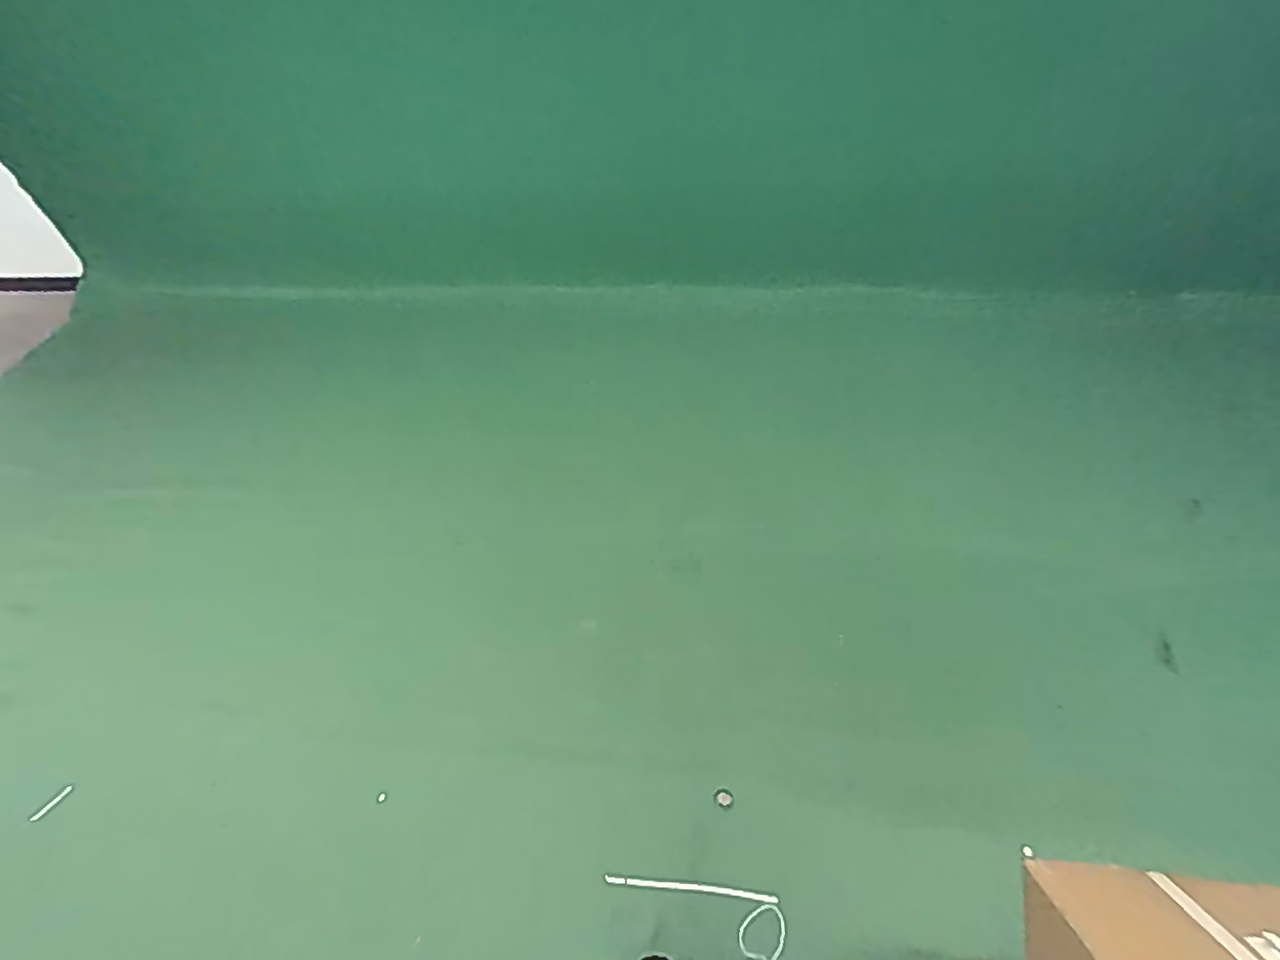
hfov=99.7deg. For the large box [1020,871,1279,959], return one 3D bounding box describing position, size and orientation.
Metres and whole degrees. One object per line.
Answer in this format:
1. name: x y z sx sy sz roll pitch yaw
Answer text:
1. large box: 0.656 0.694 0.541 0.320 0.408 0.320 0 87 12
